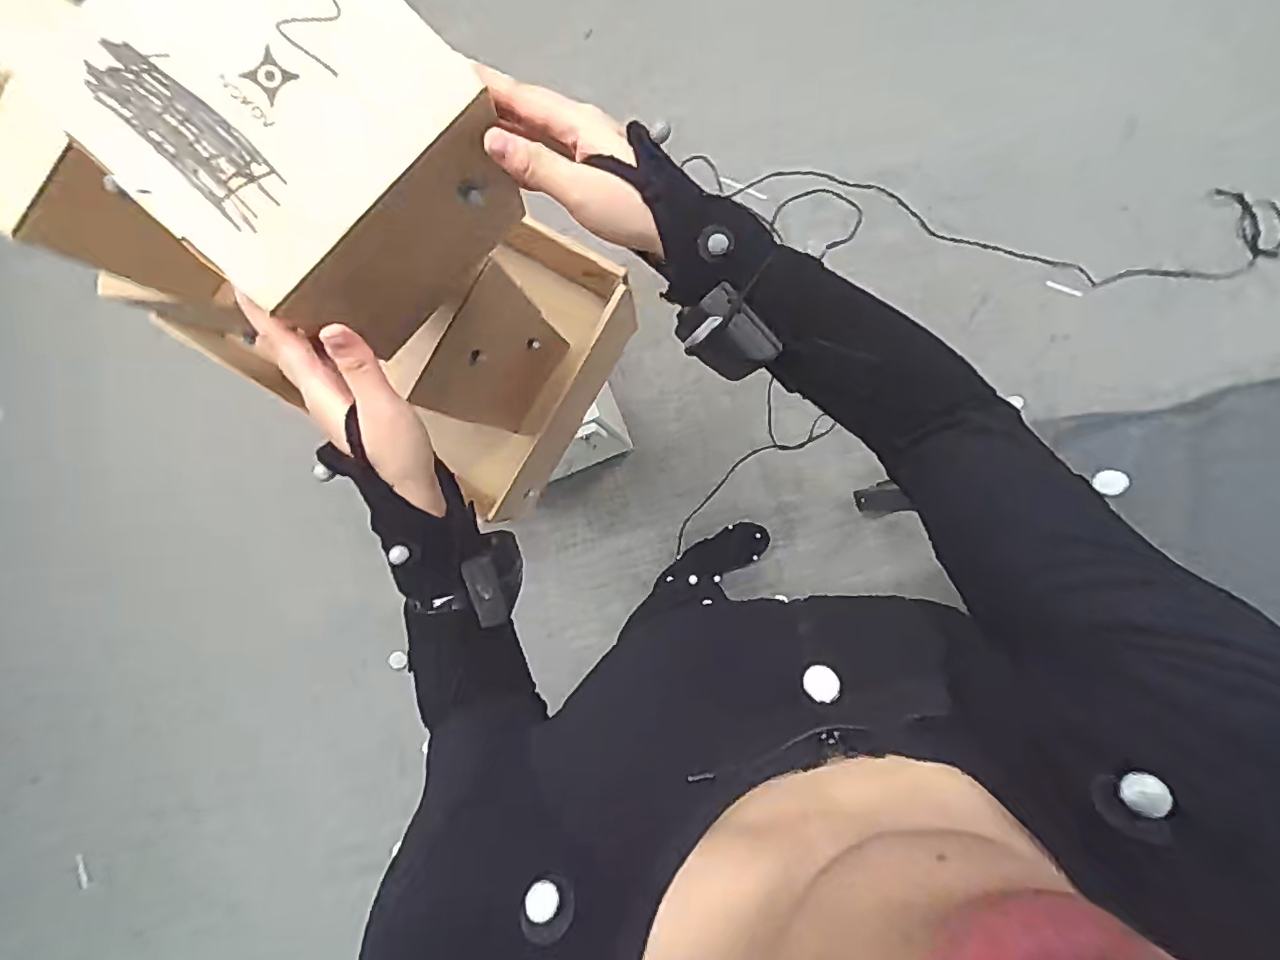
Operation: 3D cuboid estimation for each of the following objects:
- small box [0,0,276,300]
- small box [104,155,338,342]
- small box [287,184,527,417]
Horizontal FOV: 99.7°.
[{"bbox_3d":[-0.492,-0.306,0.506,0.168,0.176,0.179,35,93,5],"label":"small box"},{"bbox_3d":[-0.498,-0.284,0.672,0.168,0.176,0.179,5,91,6],"label":"small box"},{"bbox_3d":[-0.255,-0.196,0.641,0.168,0.176,0.179,32,93,8],"label":"small box"}]
